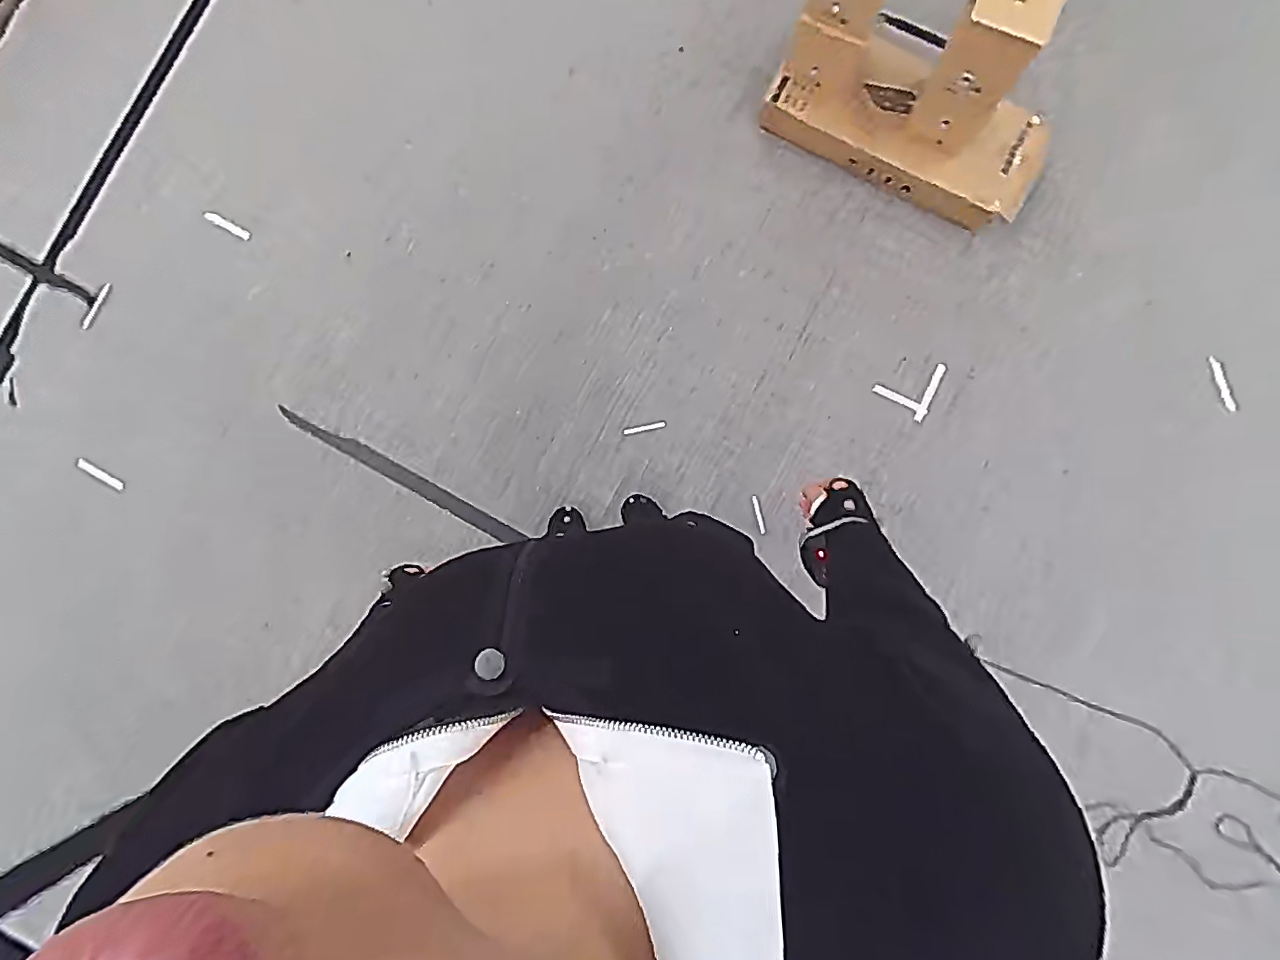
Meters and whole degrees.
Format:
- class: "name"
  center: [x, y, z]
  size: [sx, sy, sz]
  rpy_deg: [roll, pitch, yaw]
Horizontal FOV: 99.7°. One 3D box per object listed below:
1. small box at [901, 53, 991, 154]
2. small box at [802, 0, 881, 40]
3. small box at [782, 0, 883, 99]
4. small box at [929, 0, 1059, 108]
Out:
- class: "small box"
  center: [0.794, -0.975, 1.367]
  size: [0.168, 0.176, 0.179]
  rpy_deg: [26, 88, 4]
- class: "small box"
  center: [0.488, -1.159, 1.213]
  size: [0.168, 0.176, 0.179]
  rpy_deg: [25, 87, 2]
- class: "small box"
  center: [0.483, -1.134, 1.376]
  size: [0.168, 0.176, 0.179]
  rpy_deg: [27, 87, 2]
- class: "small box"
  center: [0.782, -0.989, 1.204]
  size: [0.168, 0.176, 0.179]
  rpy_deg: [23, 87, 3]
